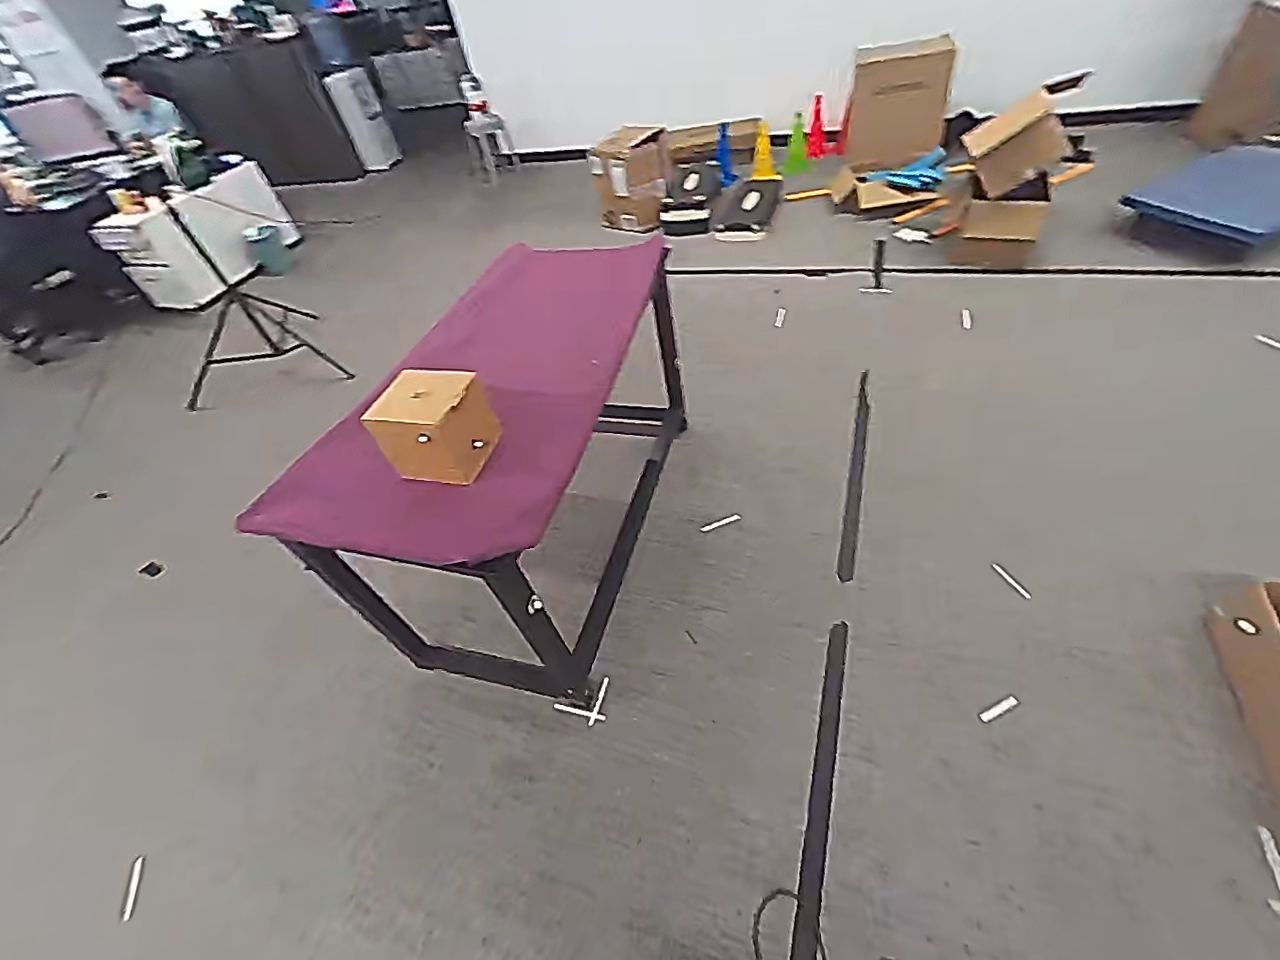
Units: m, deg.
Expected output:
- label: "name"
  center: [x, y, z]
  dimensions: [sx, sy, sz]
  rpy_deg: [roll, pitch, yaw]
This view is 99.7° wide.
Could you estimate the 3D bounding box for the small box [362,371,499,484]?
- label: "small box"
  center: [-0.425, -0.108, 1.125]
  dimensions: [0.179, 0.176, 0.168]
  rpy_deg: [5, 48, 15]
